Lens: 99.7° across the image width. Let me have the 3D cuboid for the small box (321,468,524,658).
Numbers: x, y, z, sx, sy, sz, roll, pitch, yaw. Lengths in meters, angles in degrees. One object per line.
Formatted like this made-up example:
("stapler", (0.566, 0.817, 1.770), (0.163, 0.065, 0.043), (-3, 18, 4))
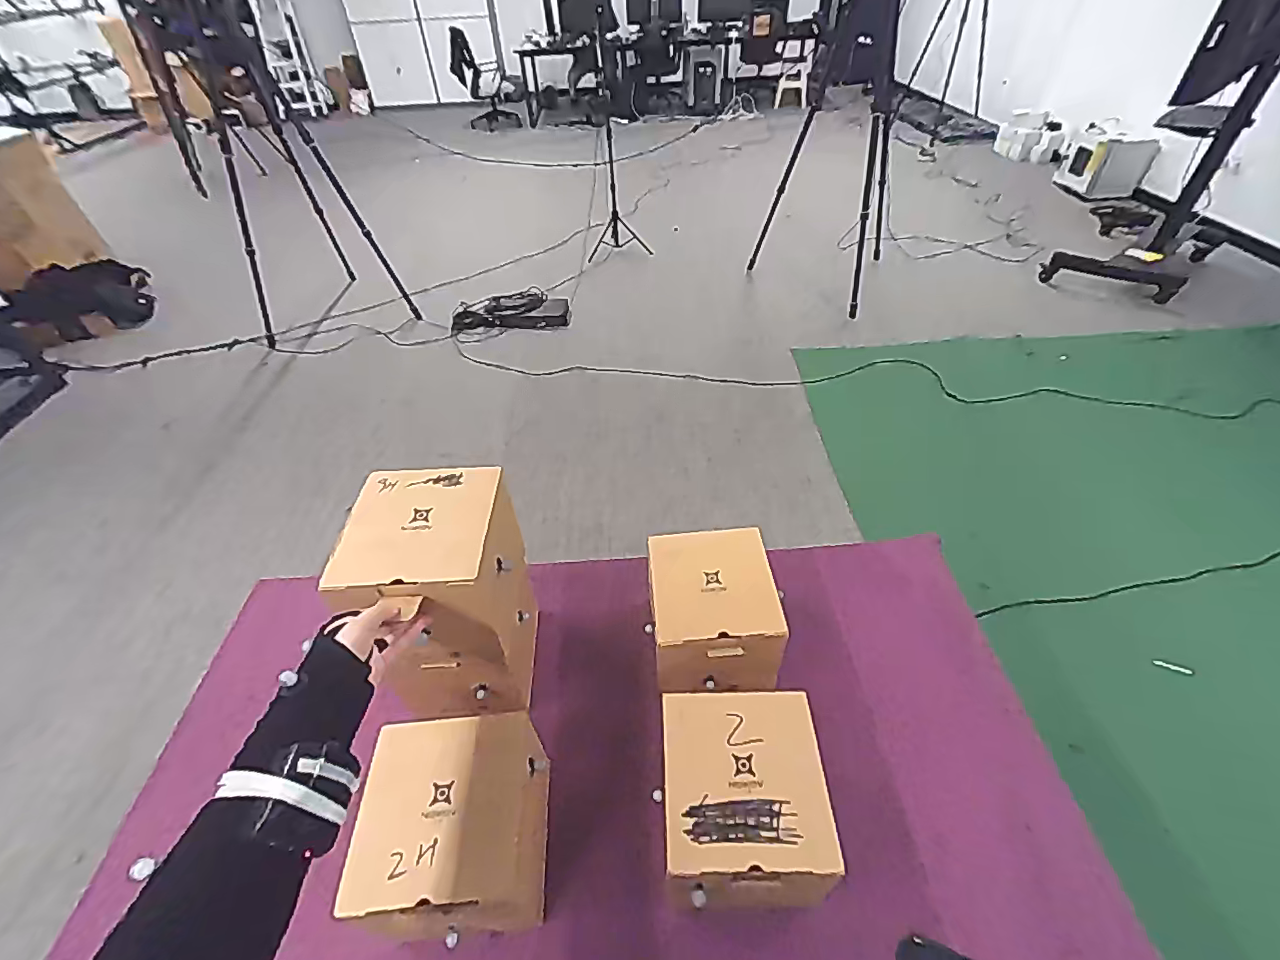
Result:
("small box", (-0.246, 0.108, 0.667), (0.168, 0.176, 0.179), (-2, 45, 0))

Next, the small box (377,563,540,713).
("small box", (-0.245, 0.224, 0.783), (0.168, 0.176, 0.179), (-3, 44, 0))

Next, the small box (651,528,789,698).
("small box", (0.103, 0.193, 0.789), (0.168, 0.176, 0.179), (-5, 46, -1))

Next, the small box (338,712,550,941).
("small box", (-0.199, 0.389, 0.610), (0.168, 0.176, 0.179), (-5, 44, -1))
